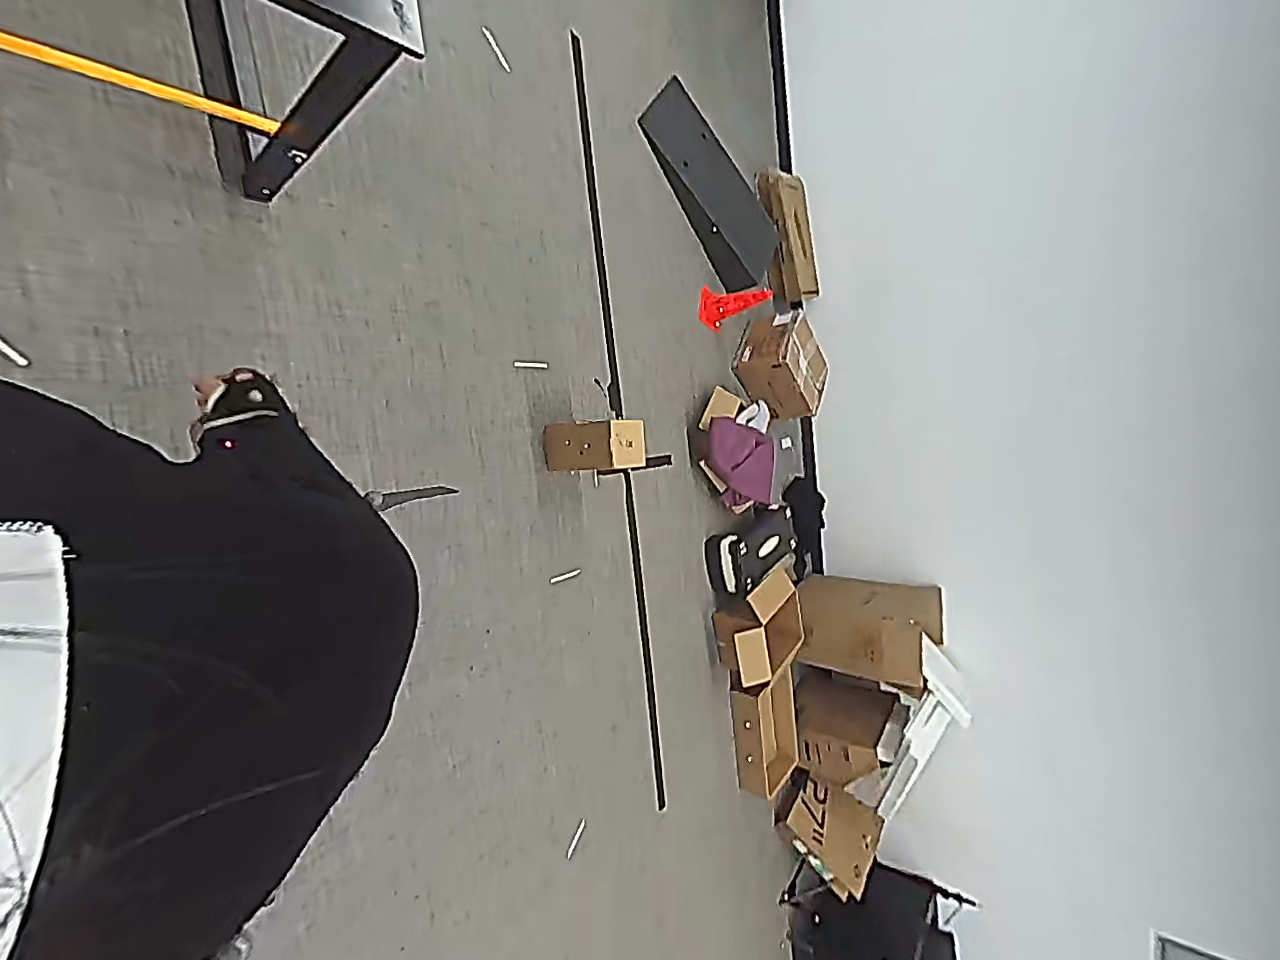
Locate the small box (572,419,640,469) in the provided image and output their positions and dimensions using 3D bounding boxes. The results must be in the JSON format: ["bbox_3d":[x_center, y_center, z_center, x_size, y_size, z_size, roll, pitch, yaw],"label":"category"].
[{"bbox_3d":[-0.120,-0.125,1.912,0.179,0.176,0.168,-7,94,-50],"label":"small box"}]

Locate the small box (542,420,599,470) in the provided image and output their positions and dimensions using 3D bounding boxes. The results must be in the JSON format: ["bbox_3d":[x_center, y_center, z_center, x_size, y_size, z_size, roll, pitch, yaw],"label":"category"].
[{"bbox_3d":[-0.251,-0.129,2.012,0.168,0.176,0.179,-6,95,-50],"label":"small box"}]
